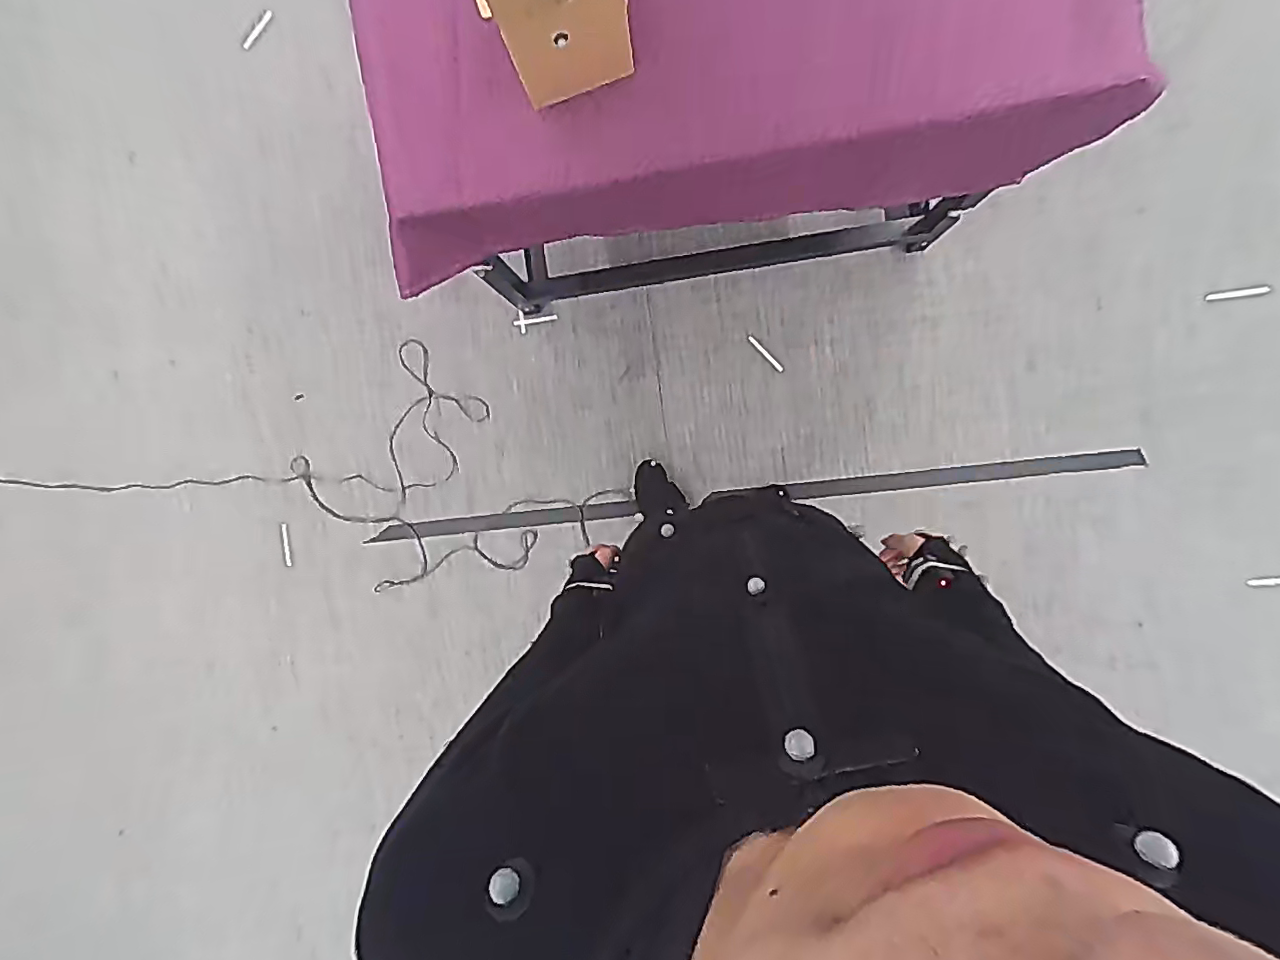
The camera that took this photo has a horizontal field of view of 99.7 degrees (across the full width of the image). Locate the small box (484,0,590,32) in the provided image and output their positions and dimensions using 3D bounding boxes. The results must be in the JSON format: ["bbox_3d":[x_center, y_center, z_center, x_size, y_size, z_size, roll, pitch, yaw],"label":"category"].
[{"bbox_3d":[-0.149,-0.701,0.640,0.168,0.176,0.179,-18,91,6],"label":"small box"}]

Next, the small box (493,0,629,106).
[{"bbox_3d":[-0.126,-0.705,0.803,0.179,0.176,0.168,-17,91,4],"label":"small box"}]
